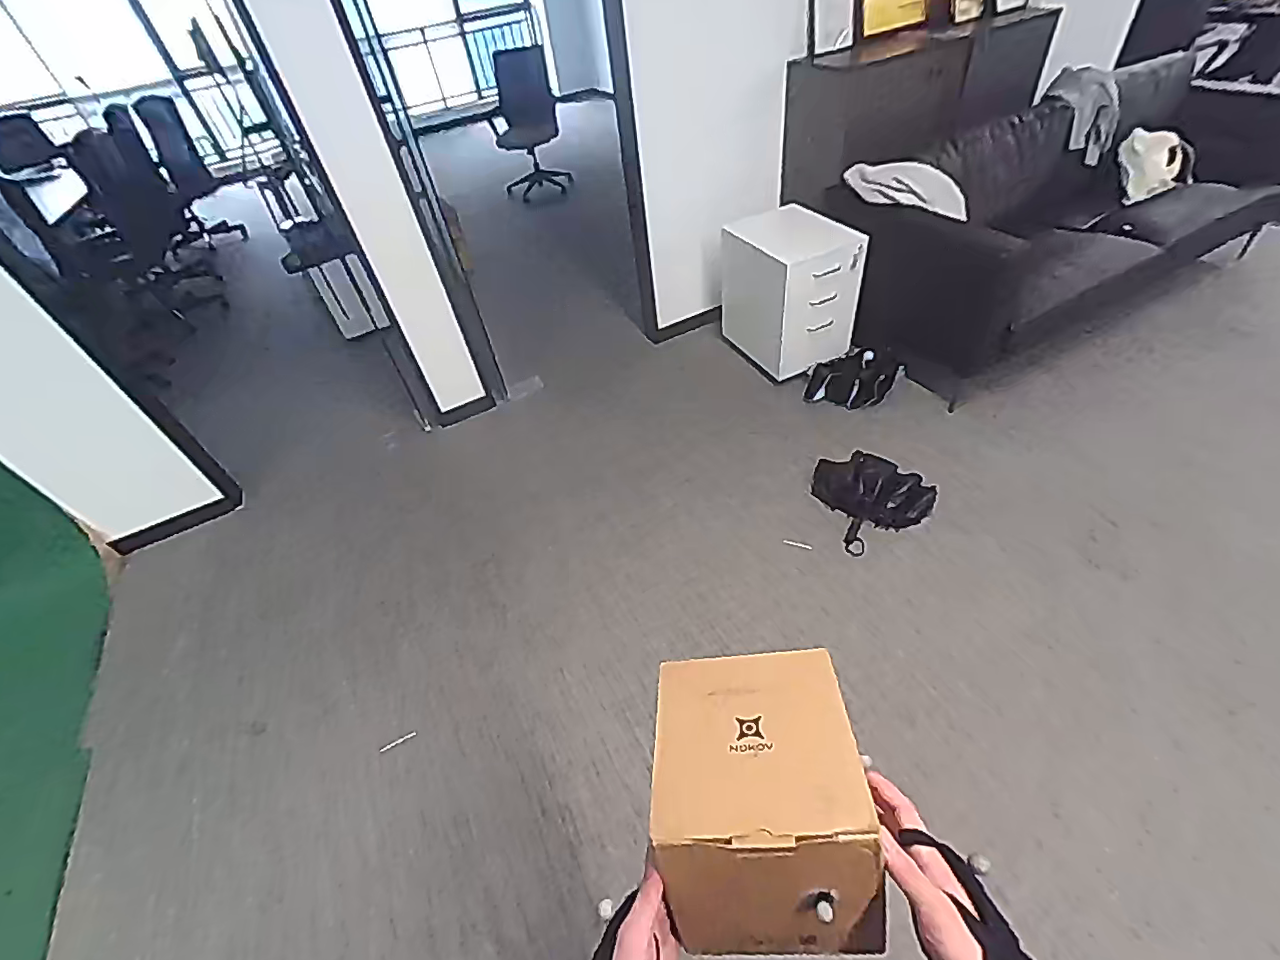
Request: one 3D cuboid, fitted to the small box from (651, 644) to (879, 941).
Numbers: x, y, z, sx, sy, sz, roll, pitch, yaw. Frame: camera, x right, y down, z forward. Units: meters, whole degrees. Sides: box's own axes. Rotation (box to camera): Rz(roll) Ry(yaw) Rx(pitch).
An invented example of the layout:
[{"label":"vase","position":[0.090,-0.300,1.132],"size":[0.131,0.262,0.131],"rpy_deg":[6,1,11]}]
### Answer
[{"label":"small box","position":[0.109,0.279,0.491],"size":[0.168,0.176,0.179],"rpy_deg":[-7,26,8]}]
